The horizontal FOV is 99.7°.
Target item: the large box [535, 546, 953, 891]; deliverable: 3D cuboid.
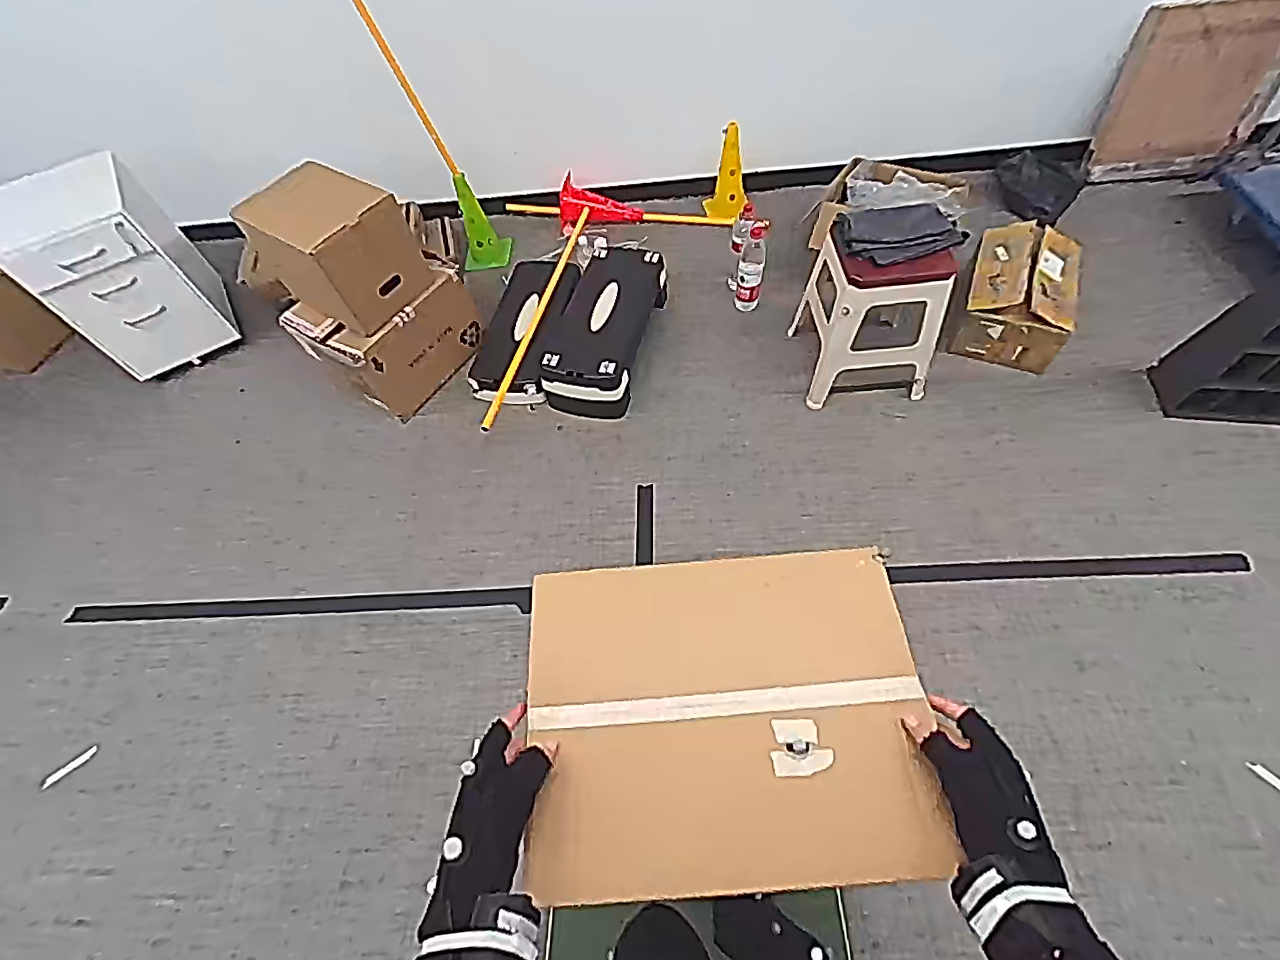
[{"bbox_3d":[0.092,0.306,0.707,0.408,0.320,0.320,-5,60,0],"label":"large box"}]
